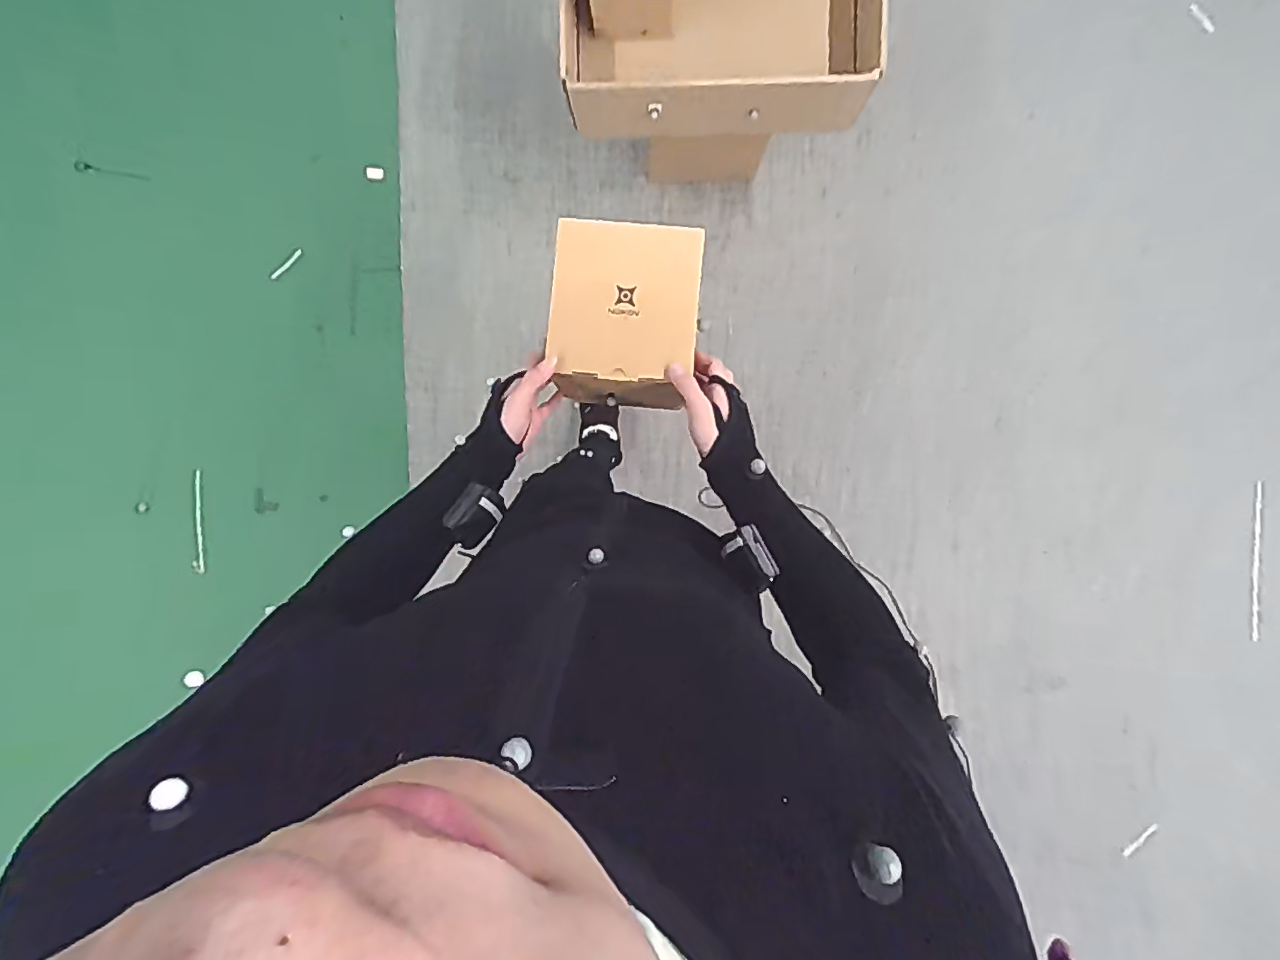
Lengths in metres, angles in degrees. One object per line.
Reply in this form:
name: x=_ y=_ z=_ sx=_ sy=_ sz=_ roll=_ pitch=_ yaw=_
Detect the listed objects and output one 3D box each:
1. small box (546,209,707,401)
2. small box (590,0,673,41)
small box: x=-0.016 y=-0.204 z=0.673 sx=0.168 sy=0.176 sz=0.179 roll=5 pitch=89 yaw=0
small box: x=-0.016 y=-1.015 z=1.059 sx=0.168 sy=0.176 sz=0.179 roll=1 pitch=93 yaw=1
